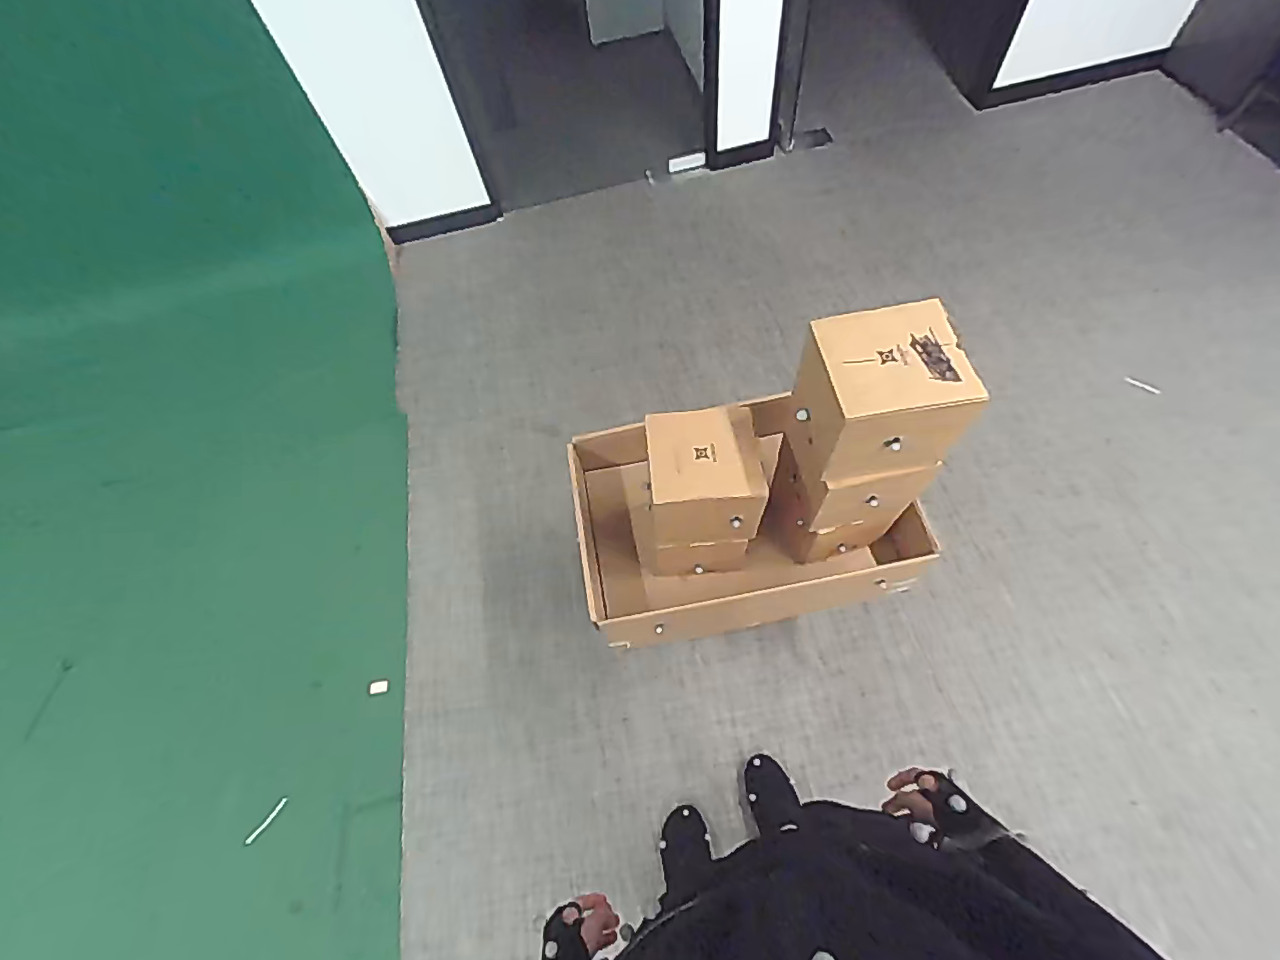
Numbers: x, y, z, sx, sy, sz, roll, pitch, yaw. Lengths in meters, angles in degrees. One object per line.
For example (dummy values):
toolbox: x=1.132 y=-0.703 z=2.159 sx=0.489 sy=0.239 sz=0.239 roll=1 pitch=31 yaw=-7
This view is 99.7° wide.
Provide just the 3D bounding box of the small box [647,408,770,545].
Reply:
small box: x=0.105 y=-0.001 z=0.905 sx=0.179 sy=0.176 sz=0.168 roll=-5 pitch=60 yaw=1

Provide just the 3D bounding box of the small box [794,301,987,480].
small box: x=0.329 y=-0.117 z=0.753 sx=0.179 sy=0.176 sz=0.168 roll=-9 pitch=61 yaw=3
